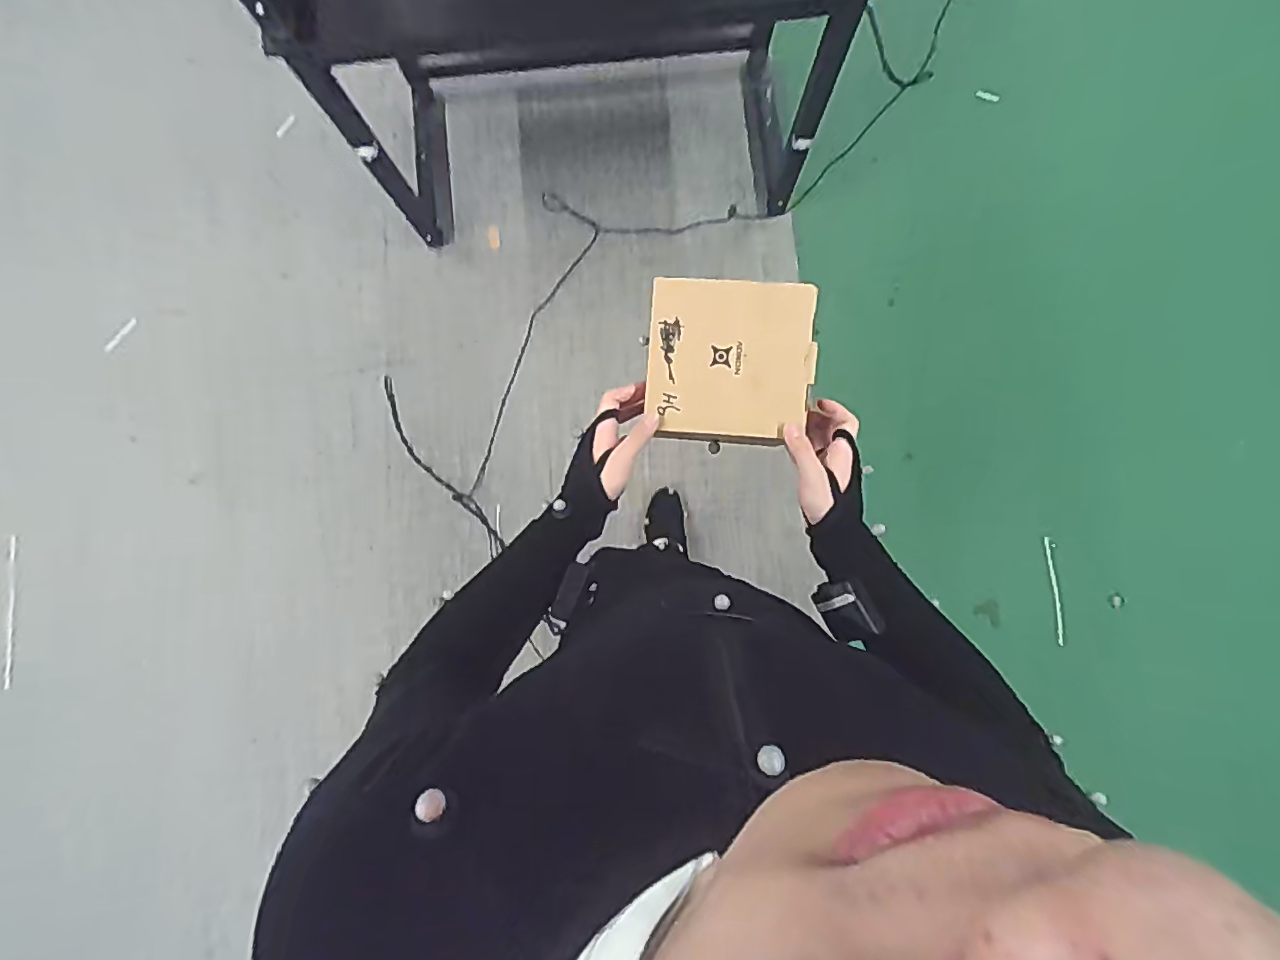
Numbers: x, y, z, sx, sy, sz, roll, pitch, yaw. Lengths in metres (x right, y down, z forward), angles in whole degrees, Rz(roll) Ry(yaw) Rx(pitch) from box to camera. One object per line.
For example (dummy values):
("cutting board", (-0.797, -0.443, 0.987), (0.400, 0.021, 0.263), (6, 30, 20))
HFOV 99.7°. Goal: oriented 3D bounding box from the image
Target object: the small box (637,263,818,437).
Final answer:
("small box", (0.095, -0.142, 0.646), (0.179, 0.176, 0.168), (6, 92, 3))
